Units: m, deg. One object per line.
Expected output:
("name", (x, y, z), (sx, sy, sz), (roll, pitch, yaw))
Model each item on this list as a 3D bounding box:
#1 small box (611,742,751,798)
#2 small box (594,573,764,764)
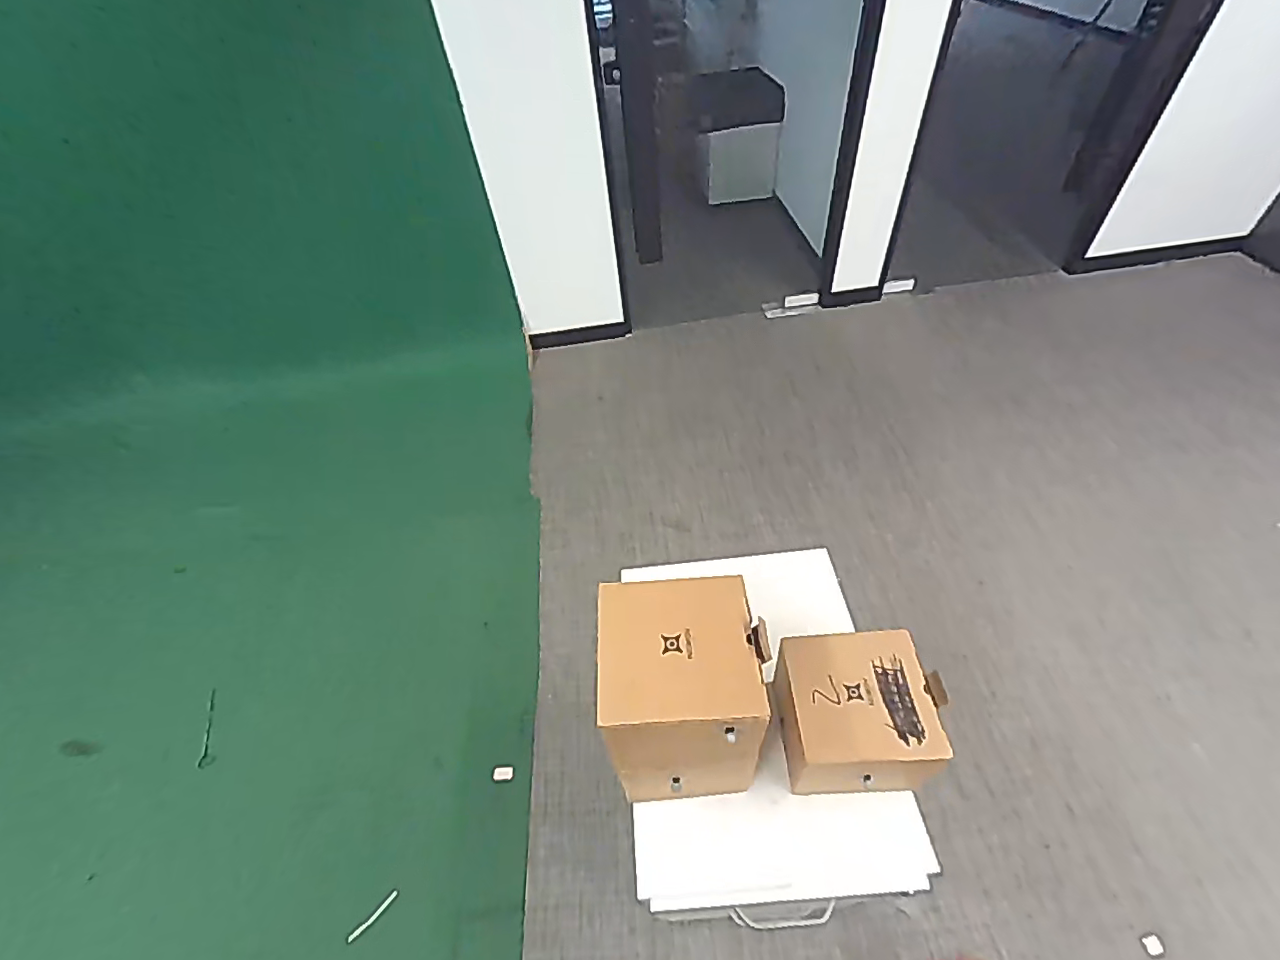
("small box", (0.052, 0.341, 0.774), (0.179, 0.176, 0.168), (-5, 48, 0))
("small box", (0.042, 0.231, 0.655), (0.179, 0.176, 0.168), (-3, 48, 0))
